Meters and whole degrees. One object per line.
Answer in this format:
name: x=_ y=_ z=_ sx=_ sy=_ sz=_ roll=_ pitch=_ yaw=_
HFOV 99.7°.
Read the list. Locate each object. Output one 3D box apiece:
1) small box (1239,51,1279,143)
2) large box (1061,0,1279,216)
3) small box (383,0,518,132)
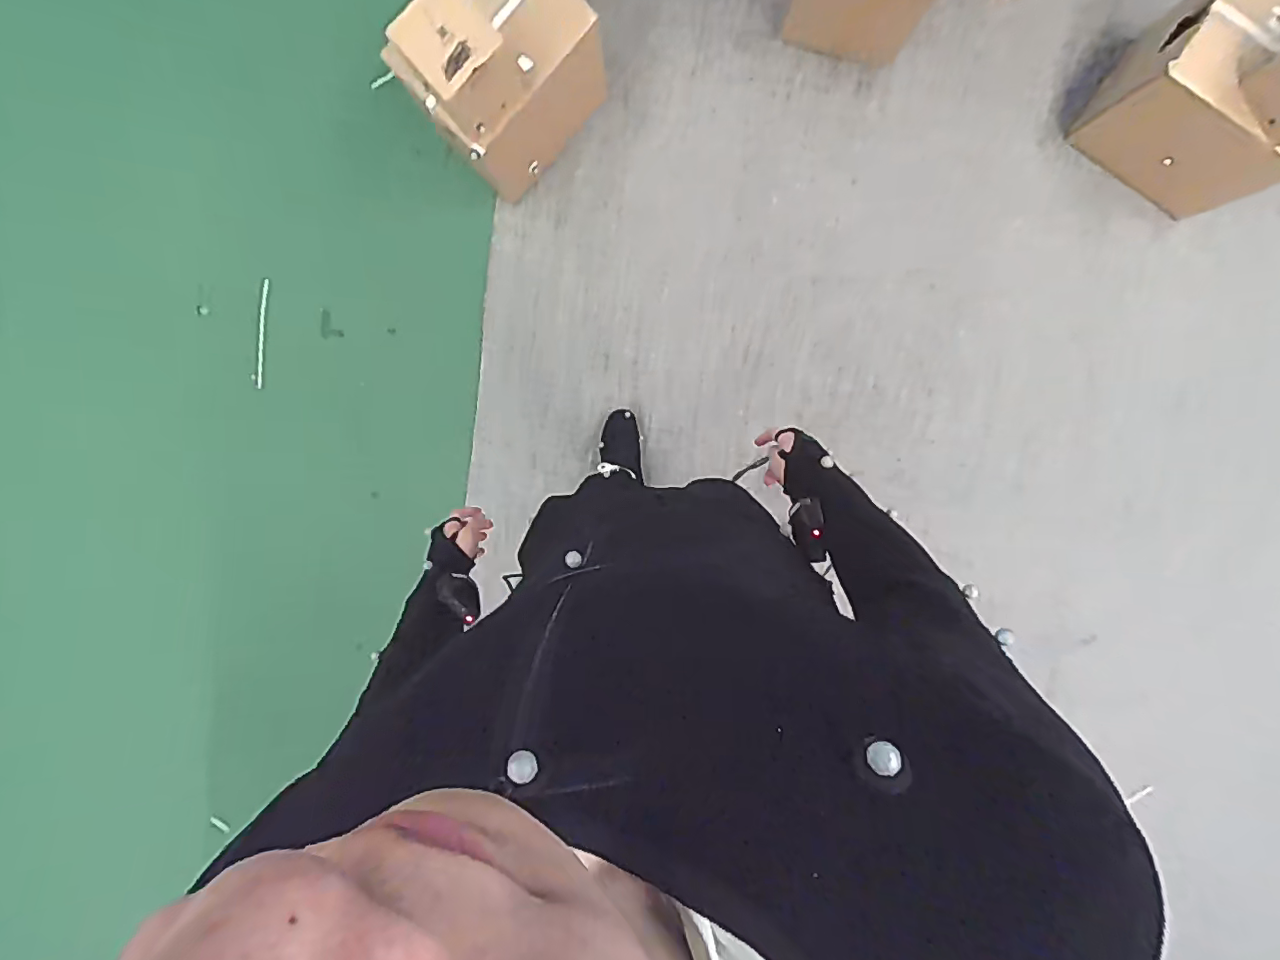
small box: x=1.411 y=-0.840 z=1.097 sx=0.179 sy=0.176 sz=0.168 roll=-38 pitch=95 yaw=6
large box: x=1.397 y=-0.938 z=1.332 sx=0.408 sy=0.320 sz=0.320 roll=32 pitch=96 yaw=-2
small box: x=-0.379 y=-0.868 z=1.122 sx=0.168 sy=0.176 sz=0.179 roll=-42 pitch=94 yaw=4
